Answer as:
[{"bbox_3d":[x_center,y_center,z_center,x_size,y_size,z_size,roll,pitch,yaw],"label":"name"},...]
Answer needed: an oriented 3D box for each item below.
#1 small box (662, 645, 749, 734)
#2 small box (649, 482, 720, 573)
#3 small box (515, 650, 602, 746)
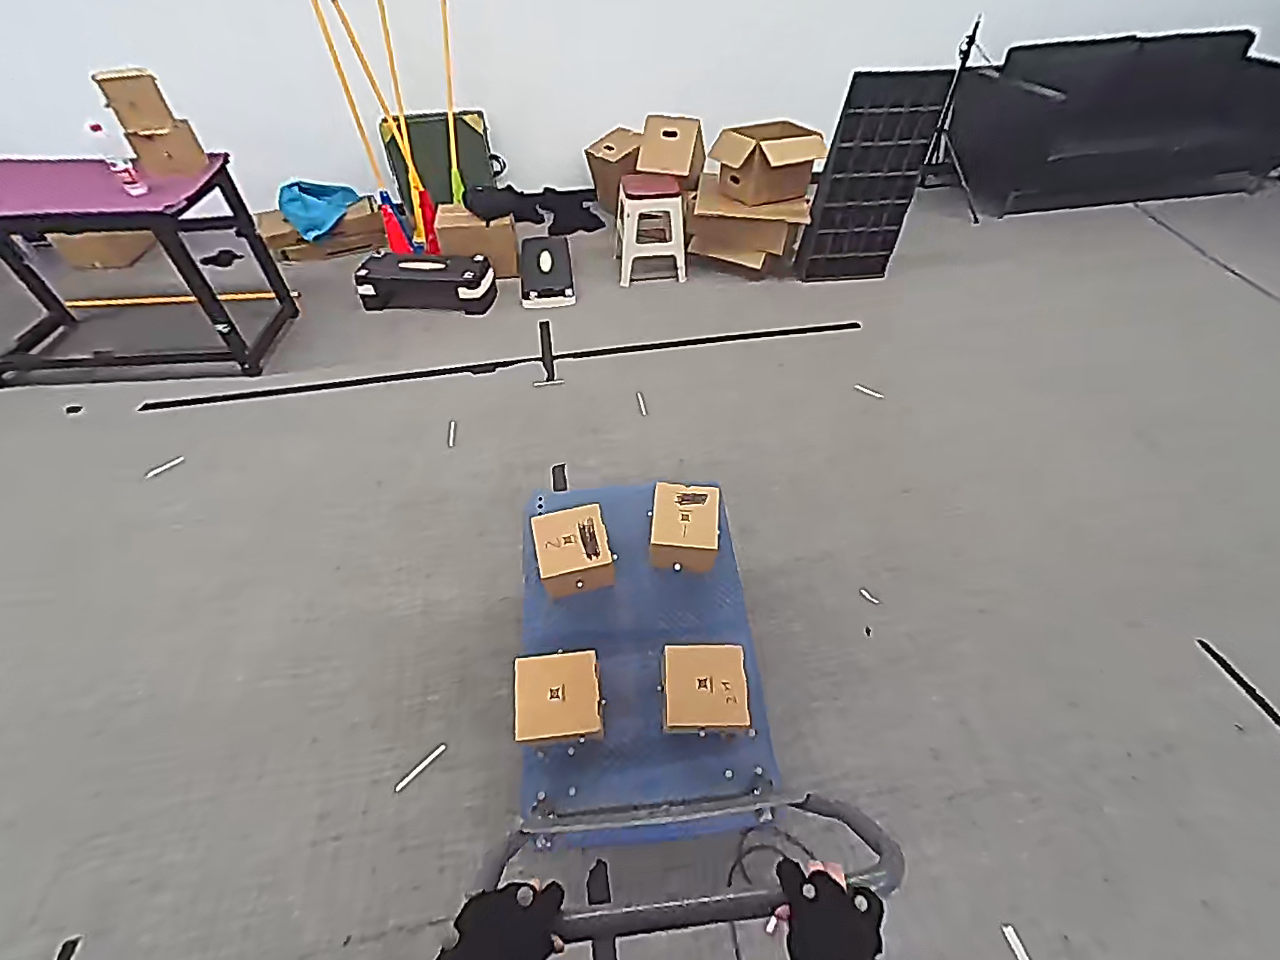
[{"bbox_3d":[0.139,0.476,1.222,0.179,0.176,0.168,1,60,-1],"label":"small box"},{"bbox_3d":[0.114,0.128,1.425,0.168,0.176,0.179,6,61,1],"label":"small box"},{"bbox_3d":[-0.178,0.489,1.205,0.179,0.176,0.168,-4,60,-6],"label":"small box"}]
